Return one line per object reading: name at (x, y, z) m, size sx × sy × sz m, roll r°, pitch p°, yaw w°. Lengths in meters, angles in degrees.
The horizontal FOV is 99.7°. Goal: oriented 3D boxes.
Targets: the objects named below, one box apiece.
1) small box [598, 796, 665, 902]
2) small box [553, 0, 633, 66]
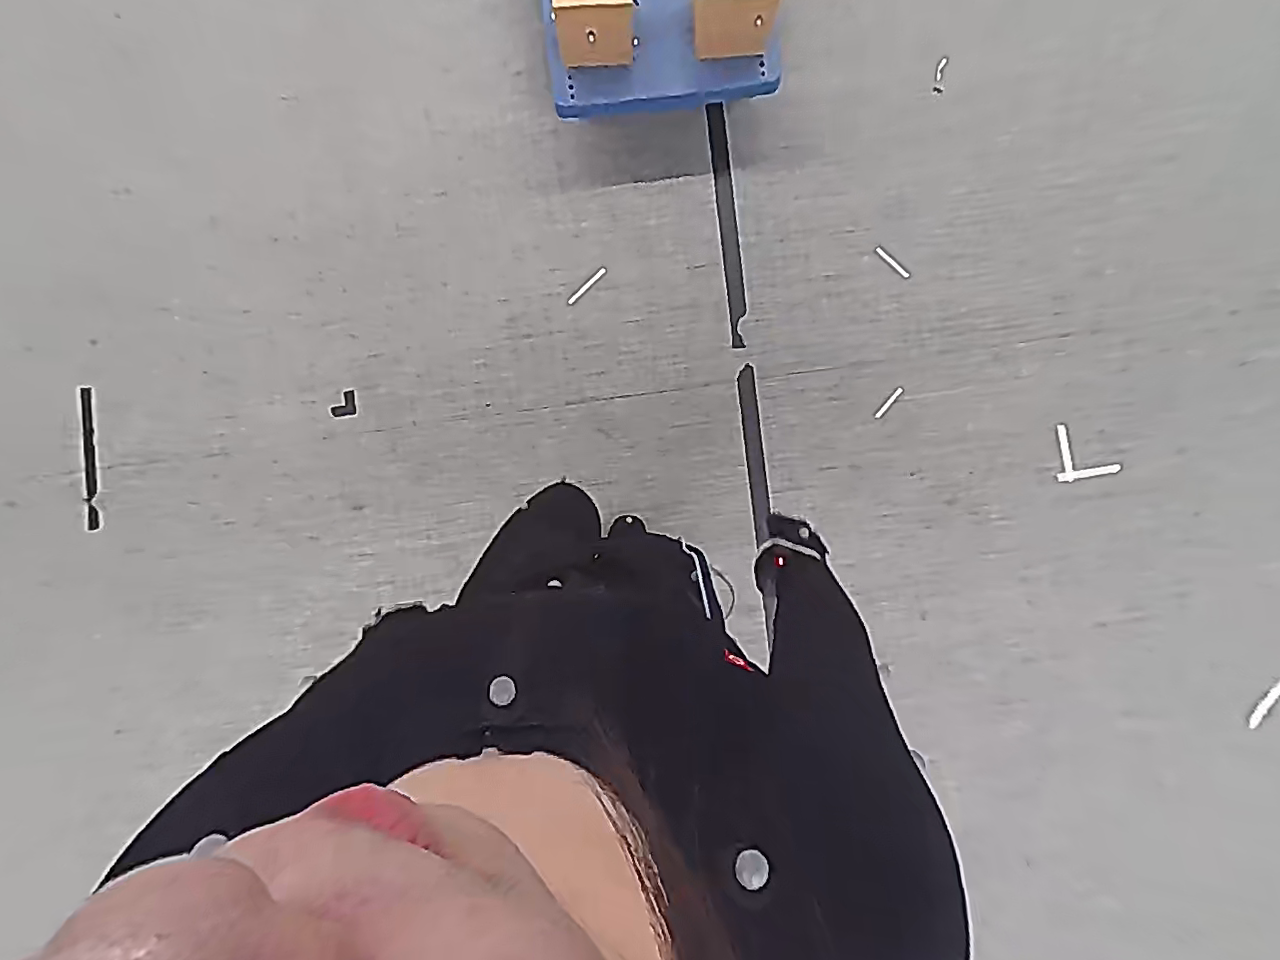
small box at (-0.021, 0.951, 1.408) m, size 0.168 × 0.176 × 0.179 m, roll 0°, pitch 90°, yaw 1°
small box at (-0.106, -1.109, 1.260) m, size 0.179 × 0.176 × 0.168 m, roll -3°, pitch 88°, yaw 1°
